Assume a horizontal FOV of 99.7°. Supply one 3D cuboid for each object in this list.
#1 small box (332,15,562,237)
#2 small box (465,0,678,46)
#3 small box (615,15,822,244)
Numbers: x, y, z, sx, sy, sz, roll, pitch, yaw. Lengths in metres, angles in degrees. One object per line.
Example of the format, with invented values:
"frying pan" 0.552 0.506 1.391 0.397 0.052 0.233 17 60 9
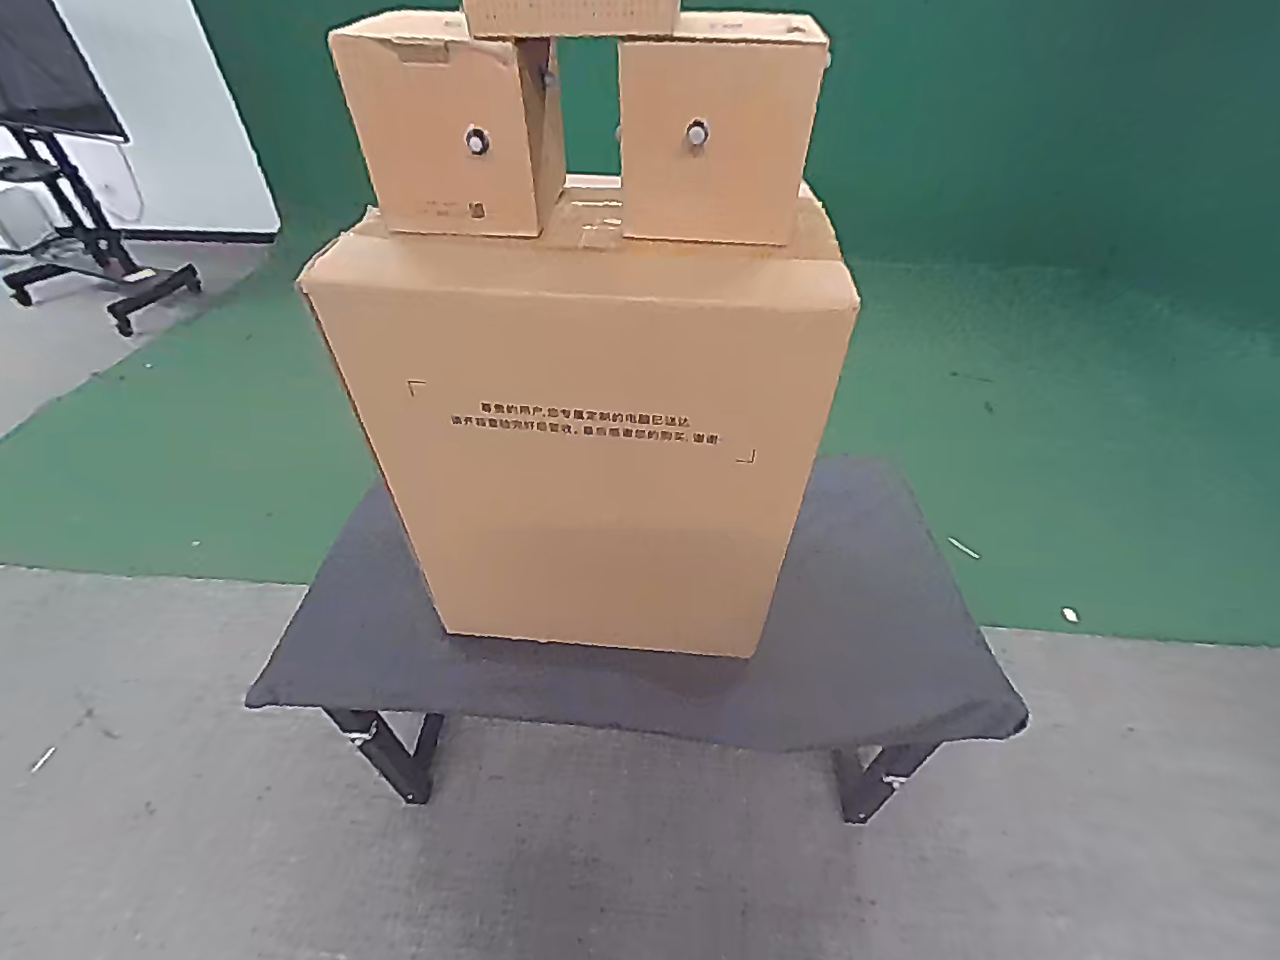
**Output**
"small box" -0.180 -0.375 0.576 0.168 0.176 0.179 4 45 2
"small box" -0.054 -0.482 0.450 0.179 0.176 0.168 2 46 4
"small box" 0.075 -0.360 0.560 0.179 0.176 0.168 4 47 5
